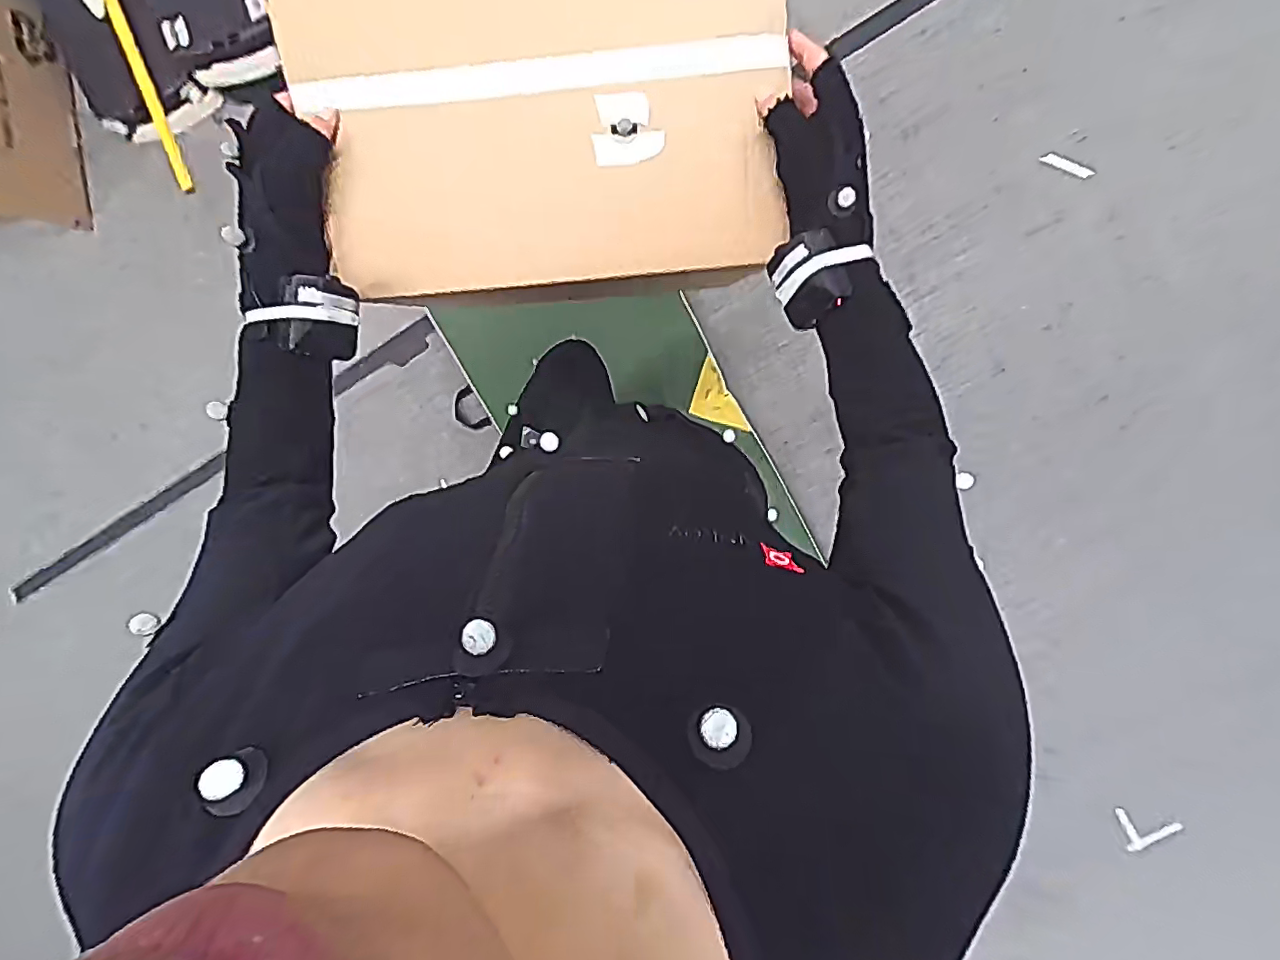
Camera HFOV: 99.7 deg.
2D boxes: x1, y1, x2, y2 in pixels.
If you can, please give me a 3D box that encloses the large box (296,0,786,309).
[{"bbox_3d":[-0.082,-0.376,0.601,0.408,0.320,0.320,-5,106,0],"label":"large box"}]
